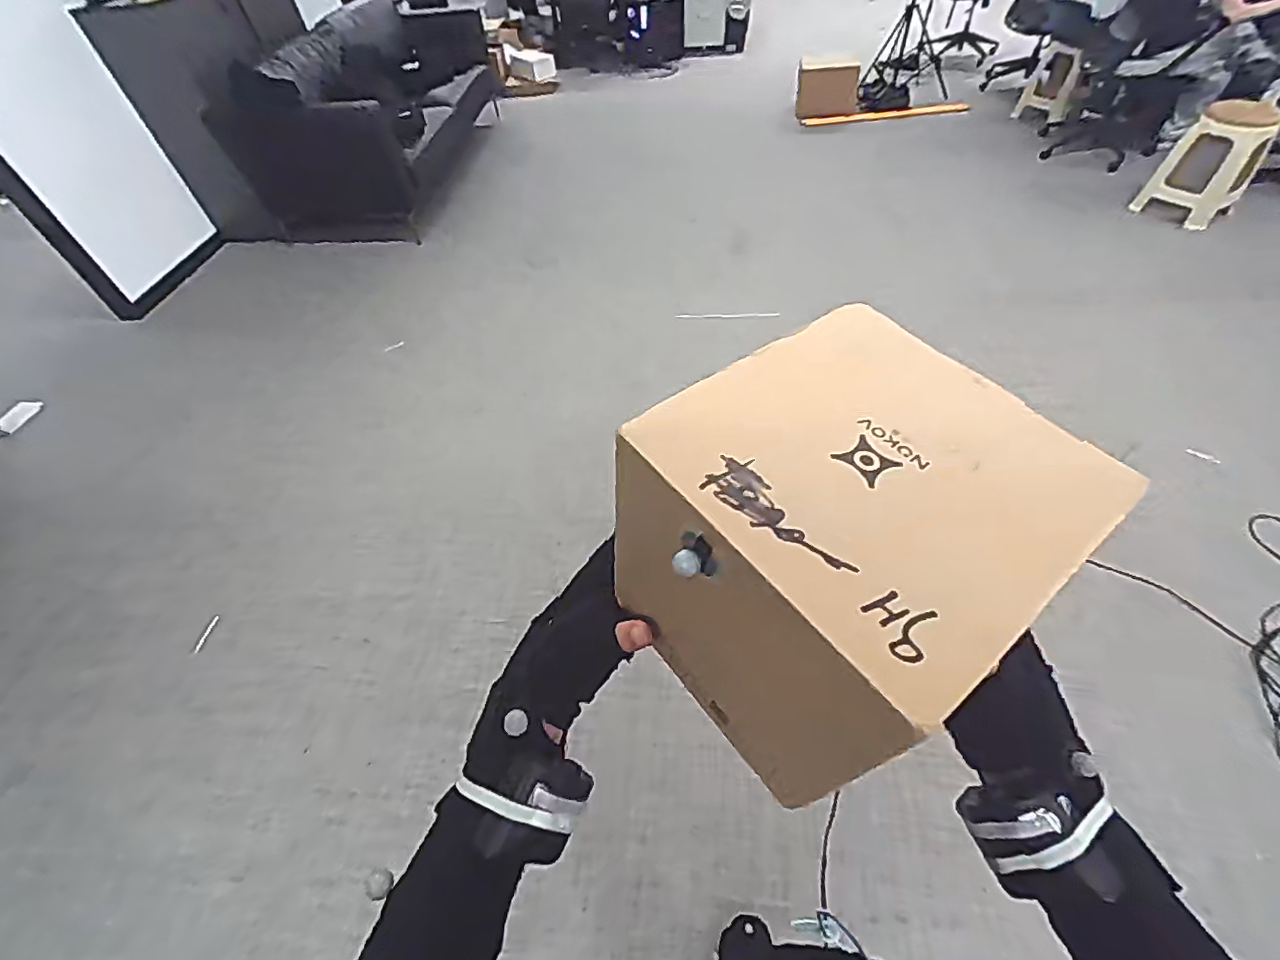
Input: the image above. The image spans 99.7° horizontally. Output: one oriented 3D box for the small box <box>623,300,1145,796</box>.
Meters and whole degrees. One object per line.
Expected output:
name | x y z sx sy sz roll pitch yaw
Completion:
small box | 0.102 0.036 0.301 0.179 0.176 0.168 -30 59 -25
